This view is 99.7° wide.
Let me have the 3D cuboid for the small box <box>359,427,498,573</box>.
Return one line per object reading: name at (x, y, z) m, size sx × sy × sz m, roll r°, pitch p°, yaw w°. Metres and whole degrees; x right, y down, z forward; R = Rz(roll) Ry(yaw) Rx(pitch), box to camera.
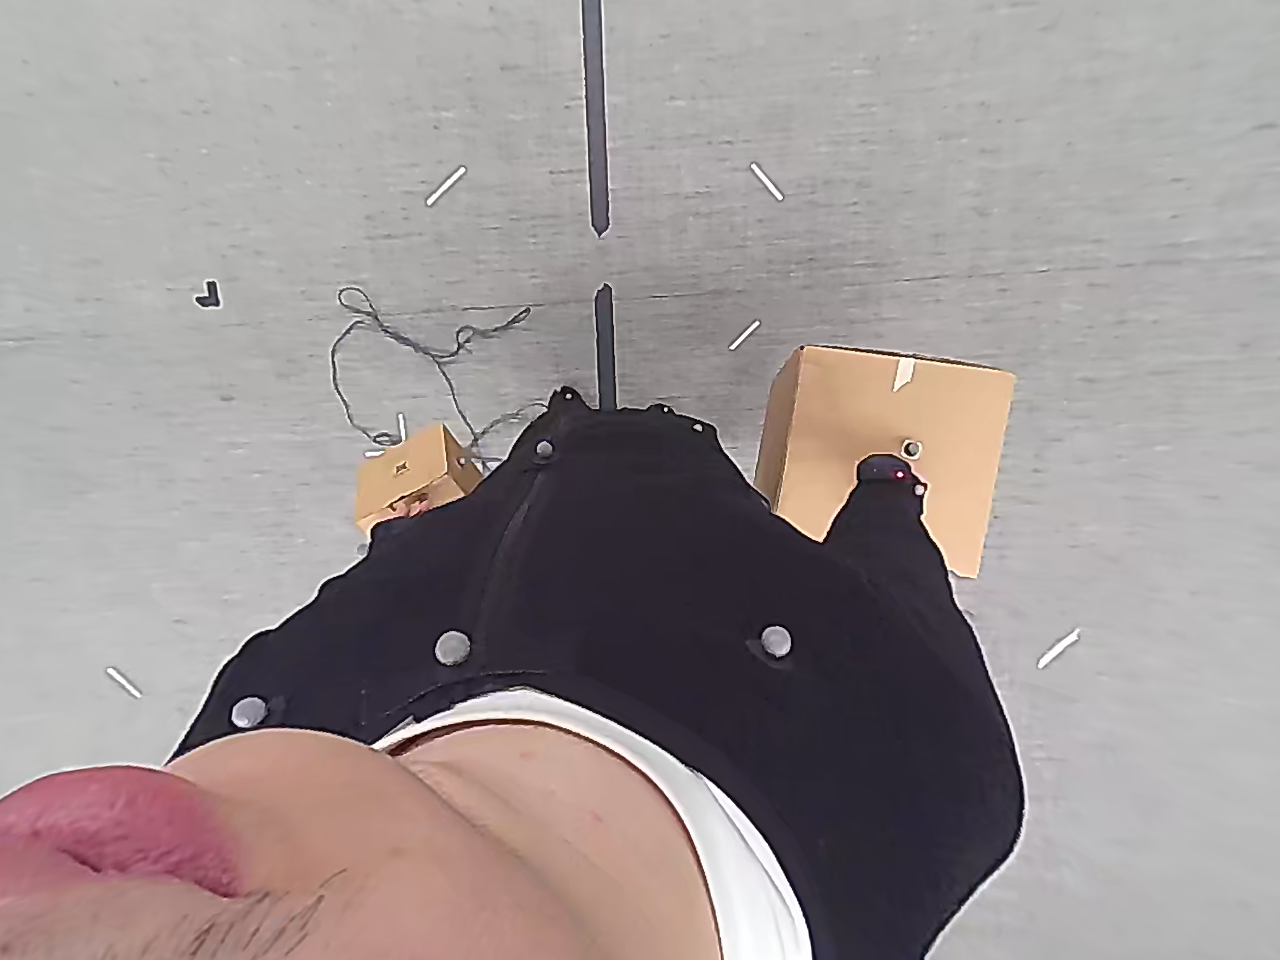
small box at (-0.373, 0.042, 0.970) m, size 0.168 × 0.179 × 0.176 m, roll -28°, pitch 129°, yaw -3°
